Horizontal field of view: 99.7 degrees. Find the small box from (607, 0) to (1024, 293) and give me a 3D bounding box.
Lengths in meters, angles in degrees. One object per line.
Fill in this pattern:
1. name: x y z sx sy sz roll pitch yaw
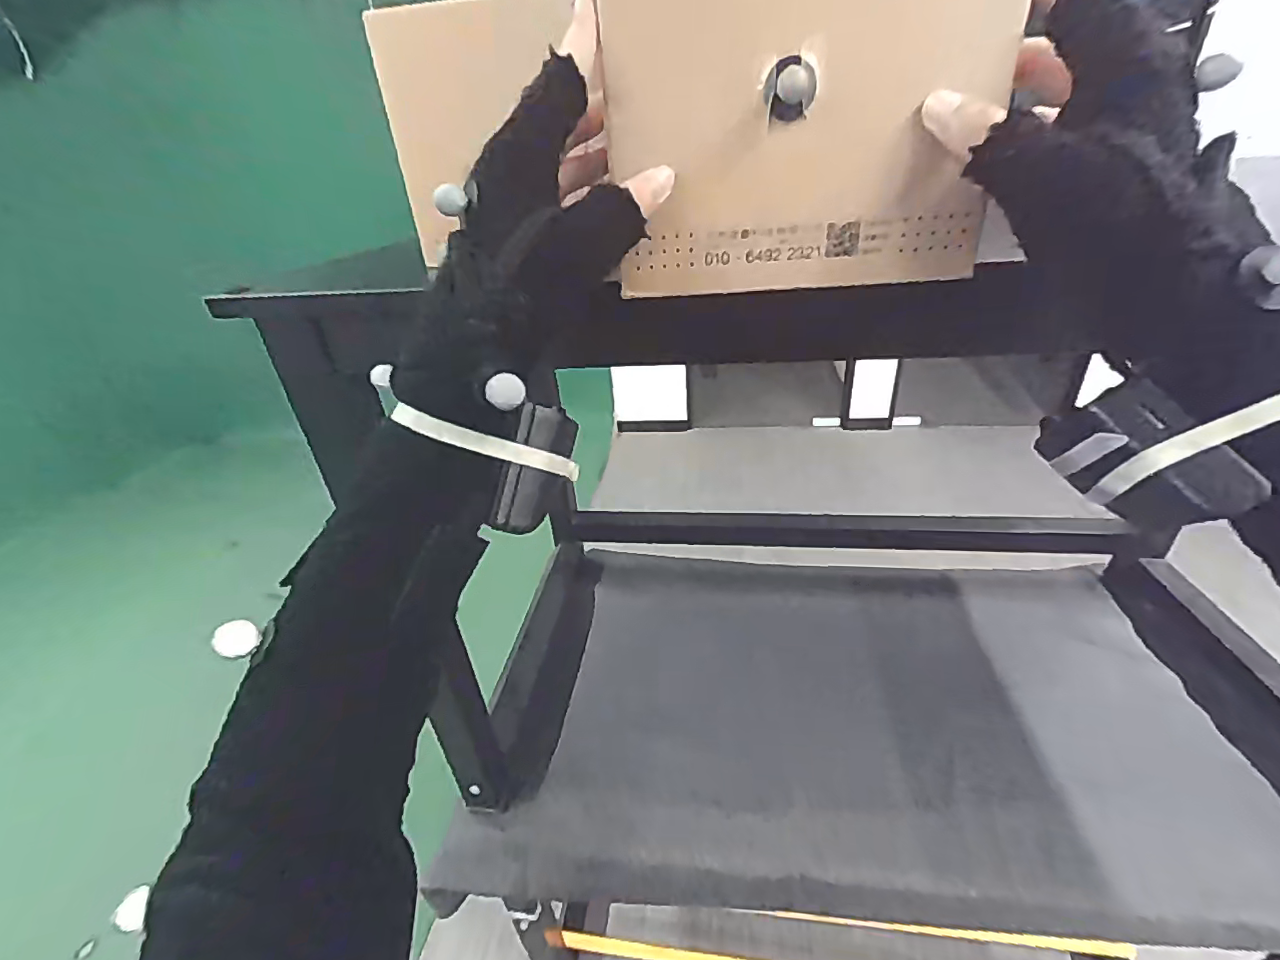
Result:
1. small box: 0.077 -0.199 0.291 0.168 0.176 0.179 0 28 6
